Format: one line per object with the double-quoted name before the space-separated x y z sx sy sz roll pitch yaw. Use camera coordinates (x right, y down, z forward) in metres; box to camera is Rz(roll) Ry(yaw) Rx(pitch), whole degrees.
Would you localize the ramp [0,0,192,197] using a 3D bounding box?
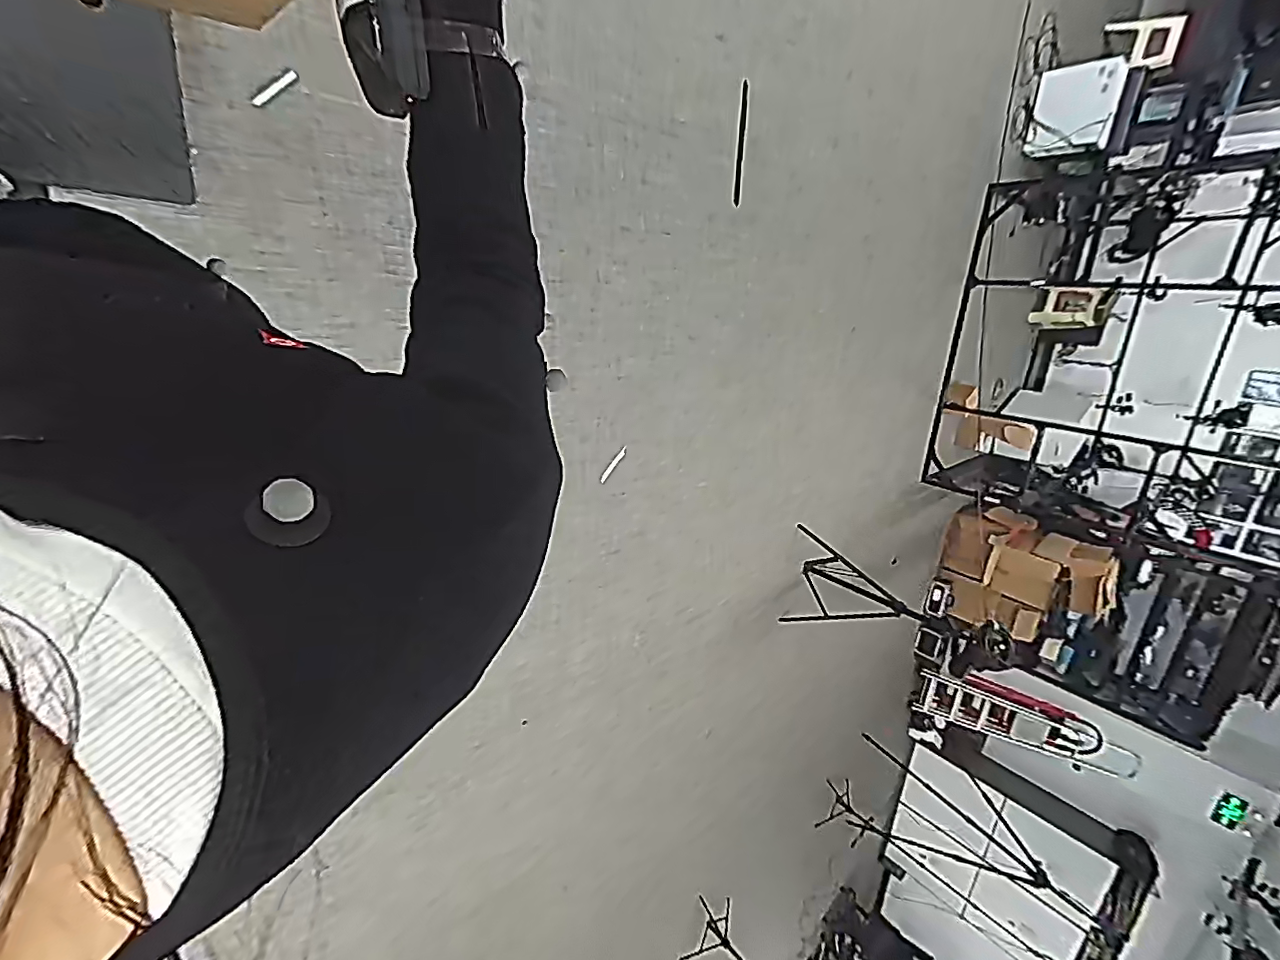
"ramp" -0.955 -0.955 0.692 0.509 0.206 0.991 -13 115 -41
